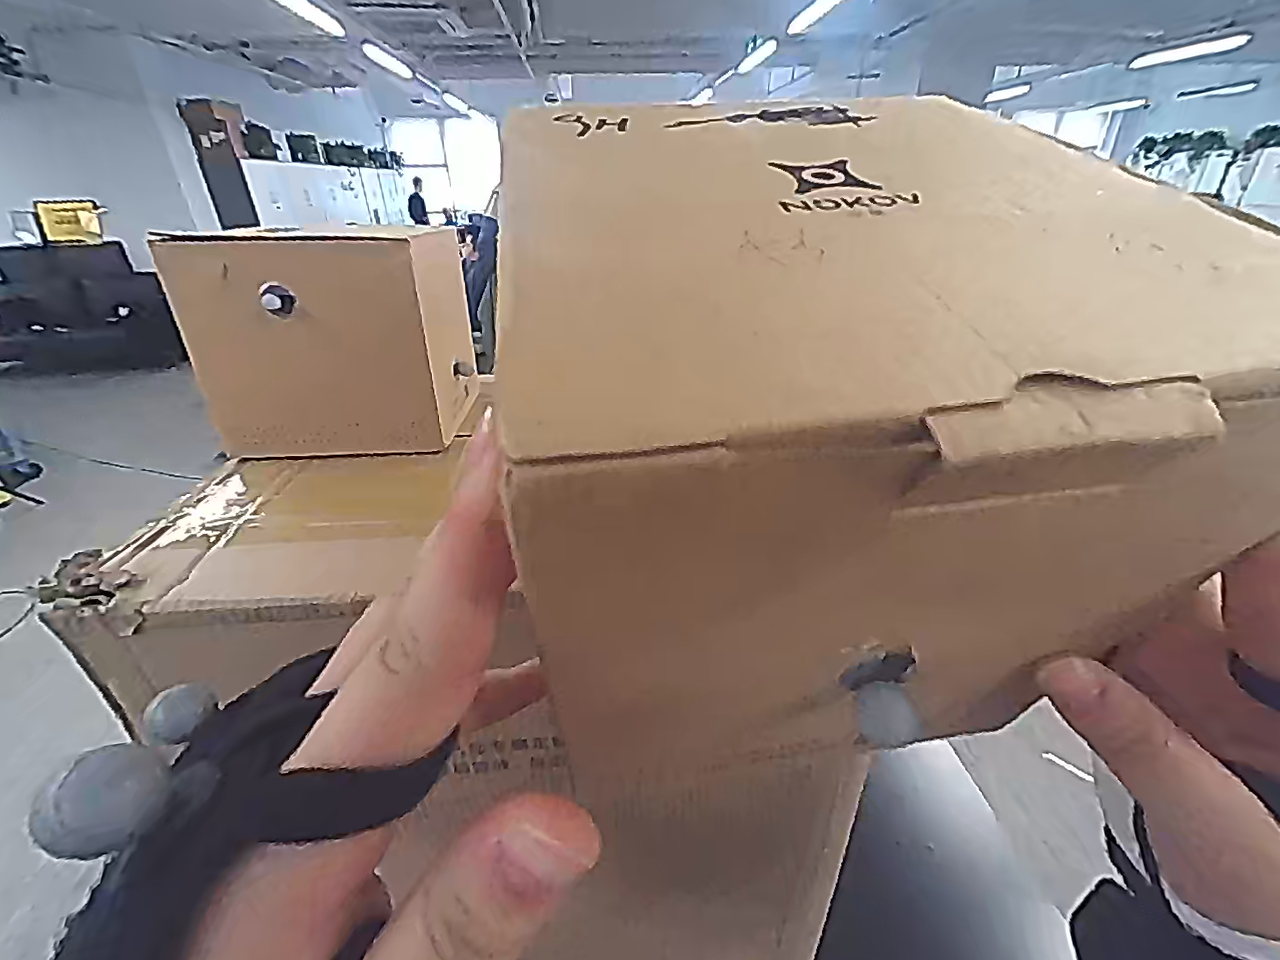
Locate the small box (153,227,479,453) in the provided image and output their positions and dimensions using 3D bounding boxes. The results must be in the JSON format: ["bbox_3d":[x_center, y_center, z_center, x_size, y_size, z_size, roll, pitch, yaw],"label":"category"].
[{"bbox_3d":[-0.254,-0.129,0.479,0.179,0.176,0.168,-2,27,-5],"label":"small box"}]

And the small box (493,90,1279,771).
[{"bbox_3d":[0.048,-0.015,0.194,0.168,0.176,0.179,-6,48,-7],"label":"small box"}]
